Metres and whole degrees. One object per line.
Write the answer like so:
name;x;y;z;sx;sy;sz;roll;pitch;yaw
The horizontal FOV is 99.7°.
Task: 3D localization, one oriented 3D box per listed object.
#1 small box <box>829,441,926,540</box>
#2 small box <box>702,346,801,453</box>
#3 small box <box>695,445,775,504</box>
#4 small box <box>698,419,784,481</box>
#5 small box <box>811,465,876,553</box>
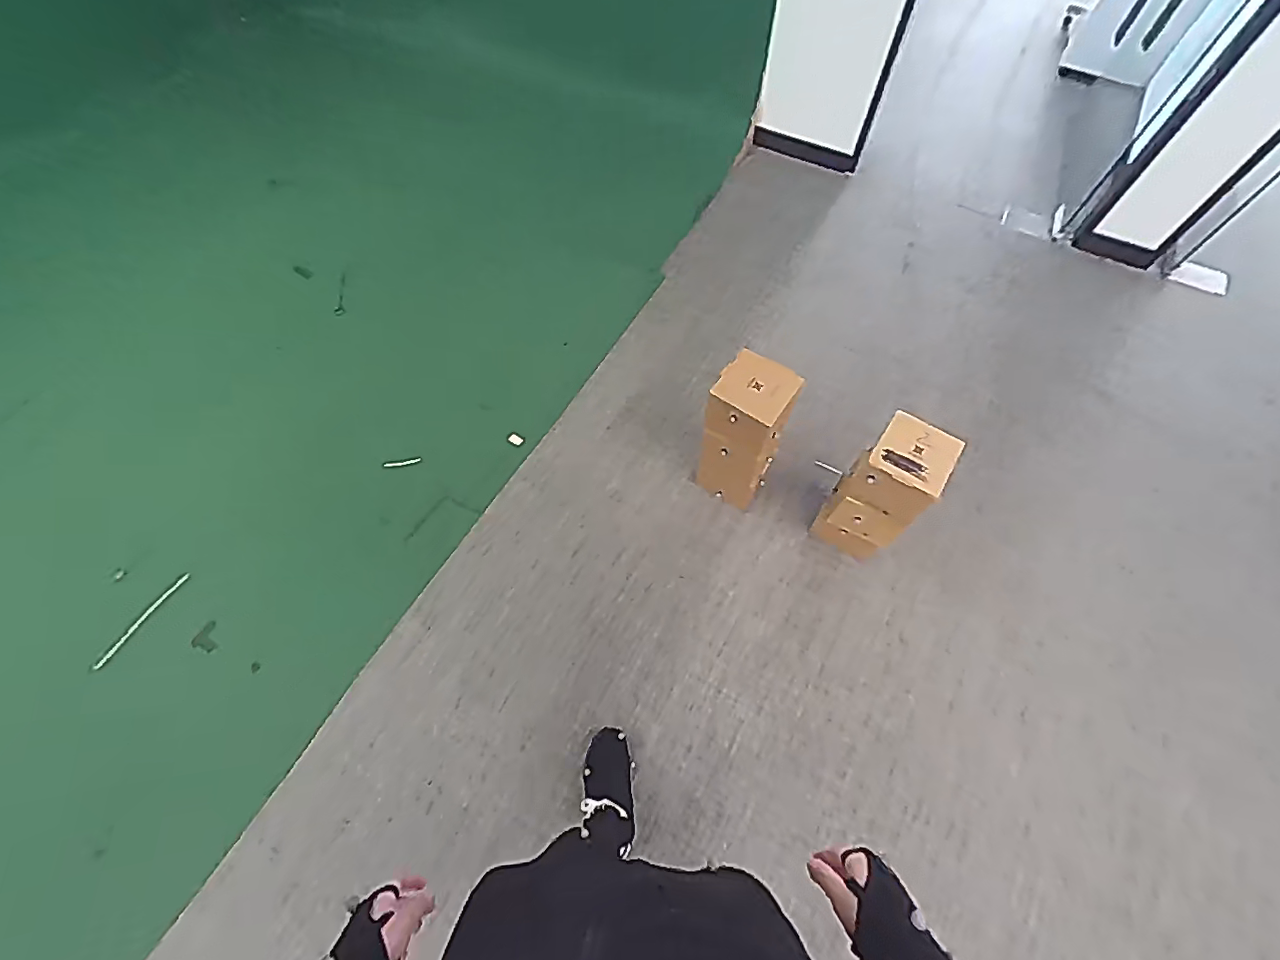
small box;0.620;0.035;1.433;0.168;0.176;0.179;25;66;13
small box;0.273;-0.197;1.370;0.179;0.176;0.168;33;70;15
small box;0.287;-0.047;1.662;0.179;0.176;0.168;30;68;14
small box;0.277;-0.124;1.516;0.179;0.176;0.168;31;69;15
small box;0.625;0.091;1.585;0.179;0.176;0.168;28;68;13
